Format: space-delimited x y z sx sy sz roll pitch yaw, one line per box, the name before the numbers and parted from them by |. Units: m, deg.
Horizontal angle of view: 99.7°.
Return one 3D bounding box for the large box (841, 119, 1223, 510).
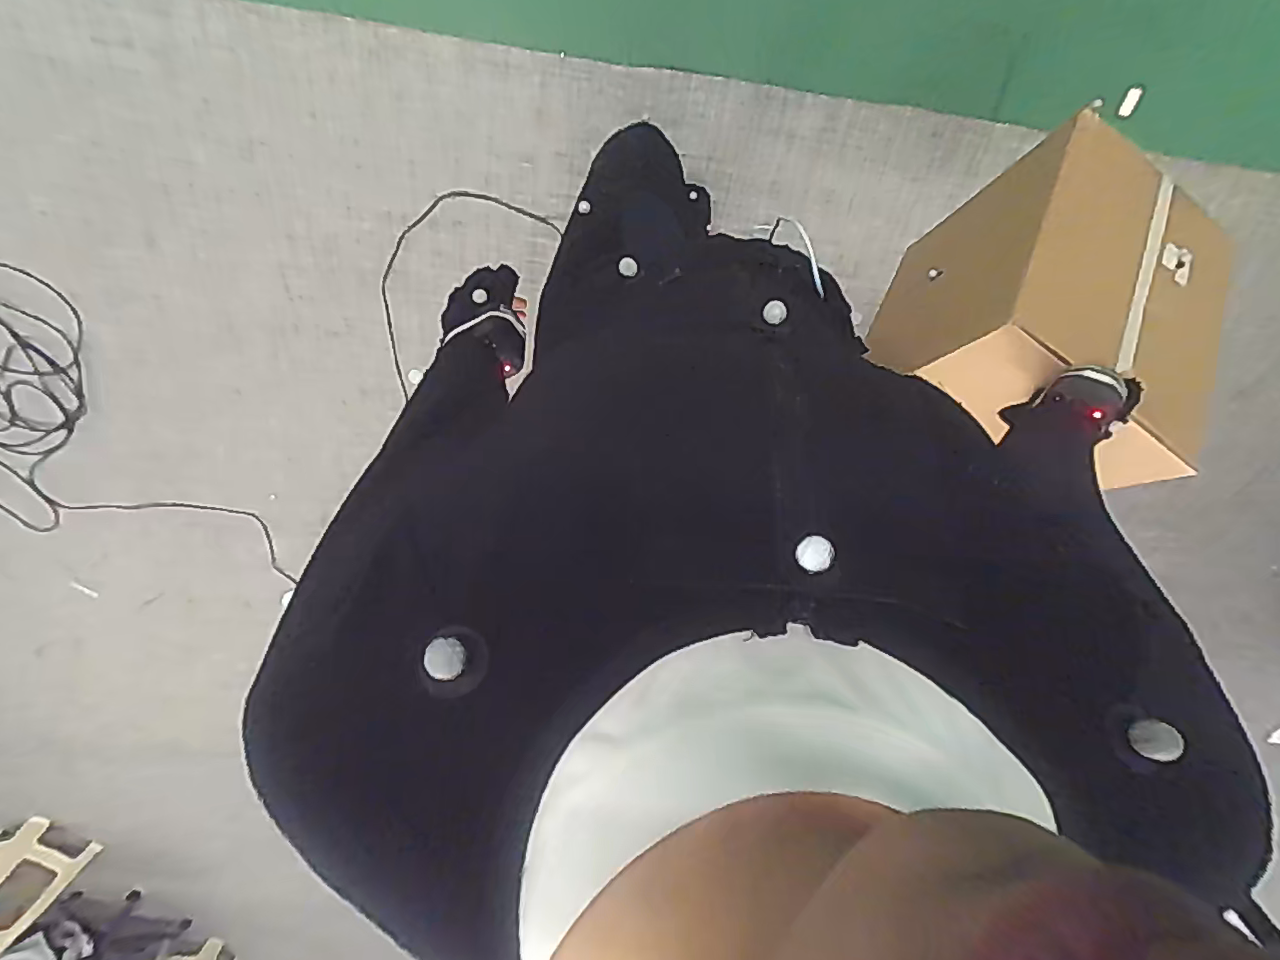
large box | 0.576 -0.217 0.826 0.320 0.408 0.320 33 160 -9
